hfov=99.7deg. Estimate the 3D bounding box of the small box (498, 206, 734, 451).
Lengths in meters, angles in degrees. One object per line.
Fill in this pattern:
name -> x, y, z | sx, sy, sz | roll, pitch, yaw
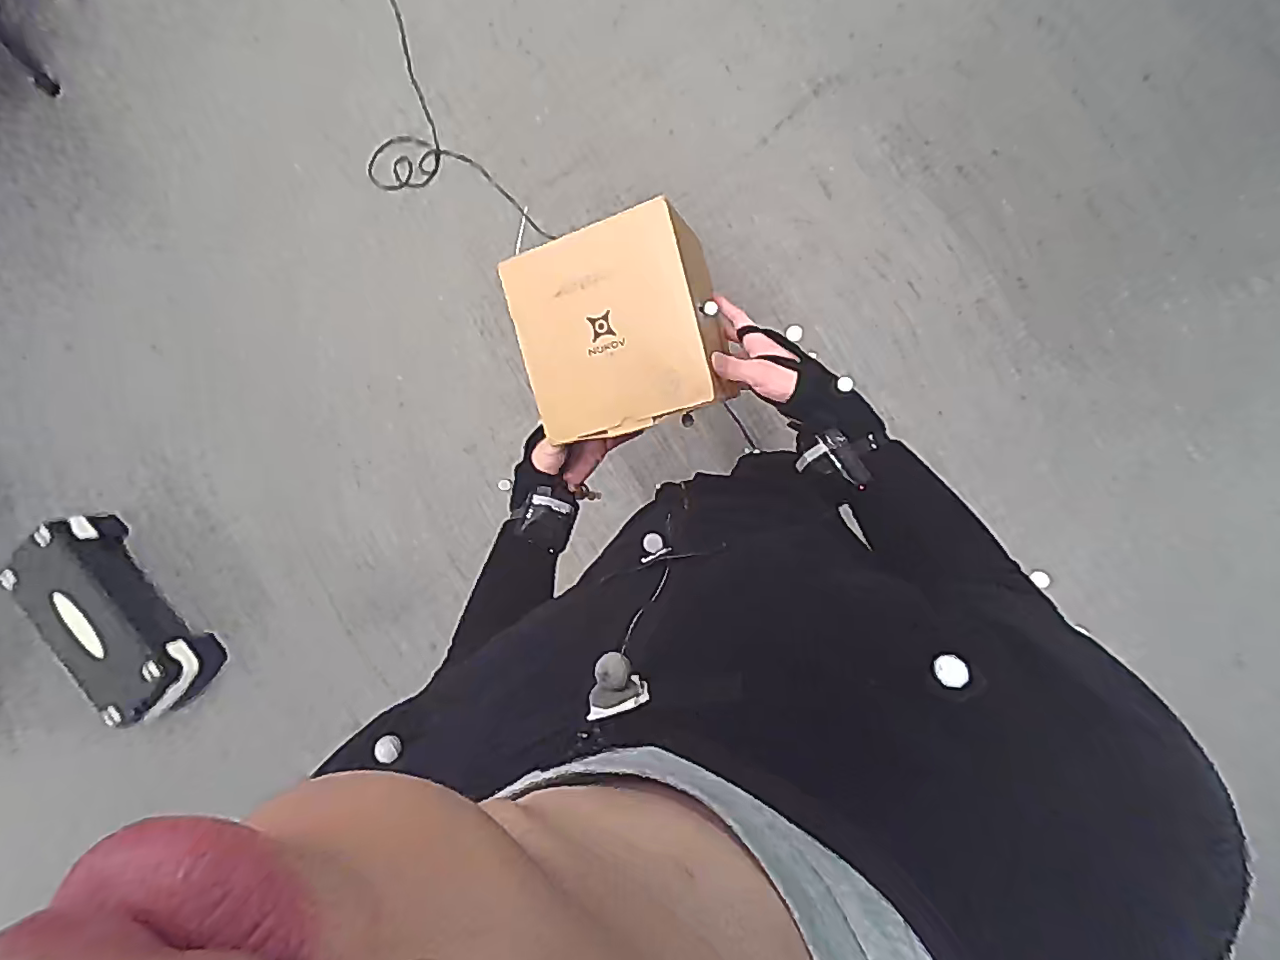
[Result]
small box -> -0.010, -0.140, 0.550 | 0.168, 0.176, 0.179 | -13, 95, 20
